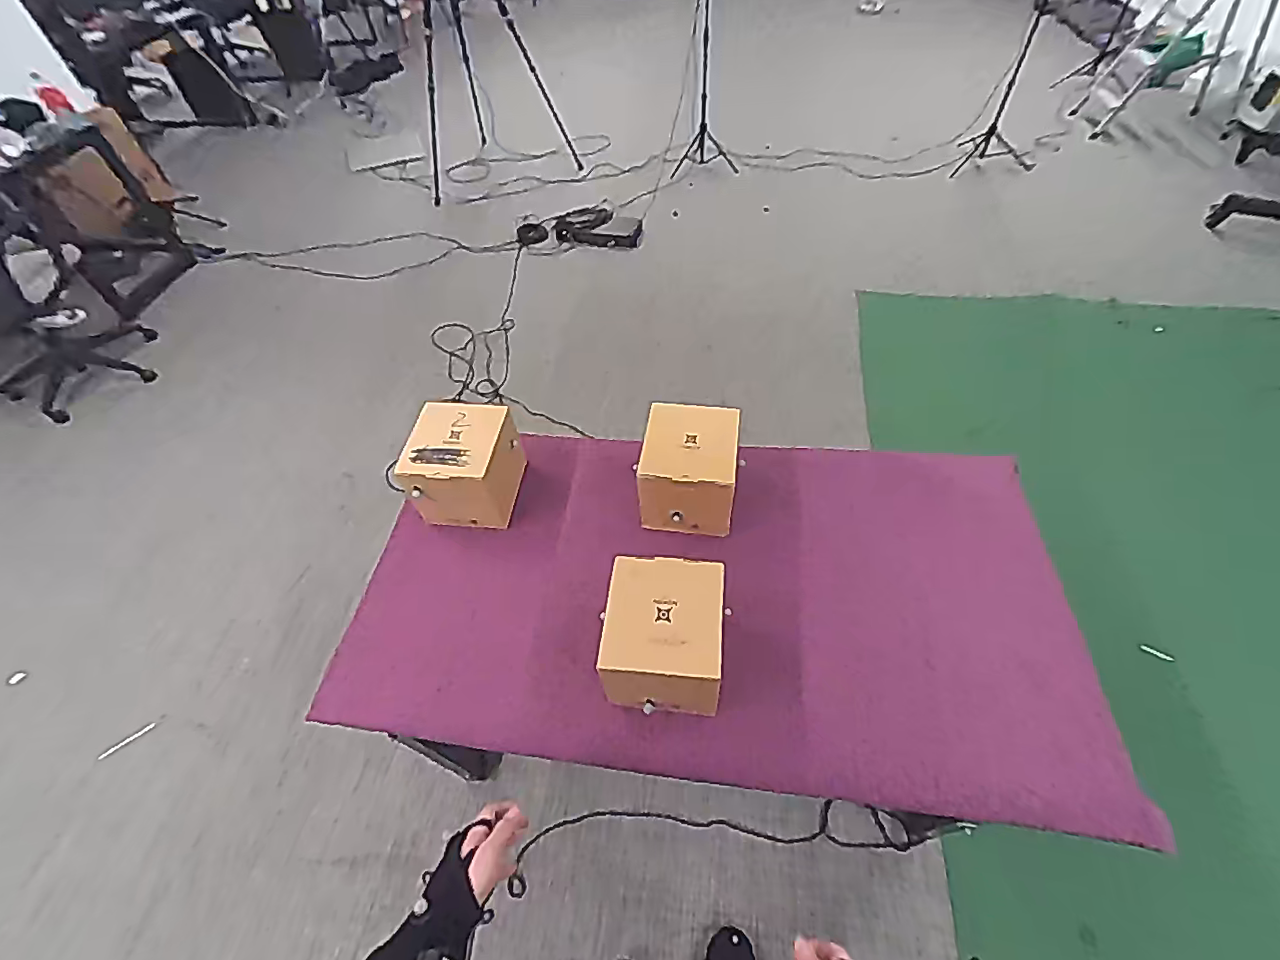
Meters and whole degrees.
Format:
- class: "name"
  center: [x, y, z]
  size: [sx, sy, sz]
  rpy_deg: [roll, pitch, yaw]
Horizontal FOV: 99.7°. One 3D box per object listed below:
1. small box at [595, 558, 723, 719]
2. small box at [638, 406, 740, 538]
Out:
- class: "small box"
  center: [0.037, 0.242, 0.825]
  size: [0.168, 0.176, 0.179]
  rpy_deg: [3, 52, 9]
- class: "small box"
  center: [0.094, -0.014, 1.018]
  size: [0.168, 0.176, 0.179]
  rpy_deg: [5, 55, 9]
